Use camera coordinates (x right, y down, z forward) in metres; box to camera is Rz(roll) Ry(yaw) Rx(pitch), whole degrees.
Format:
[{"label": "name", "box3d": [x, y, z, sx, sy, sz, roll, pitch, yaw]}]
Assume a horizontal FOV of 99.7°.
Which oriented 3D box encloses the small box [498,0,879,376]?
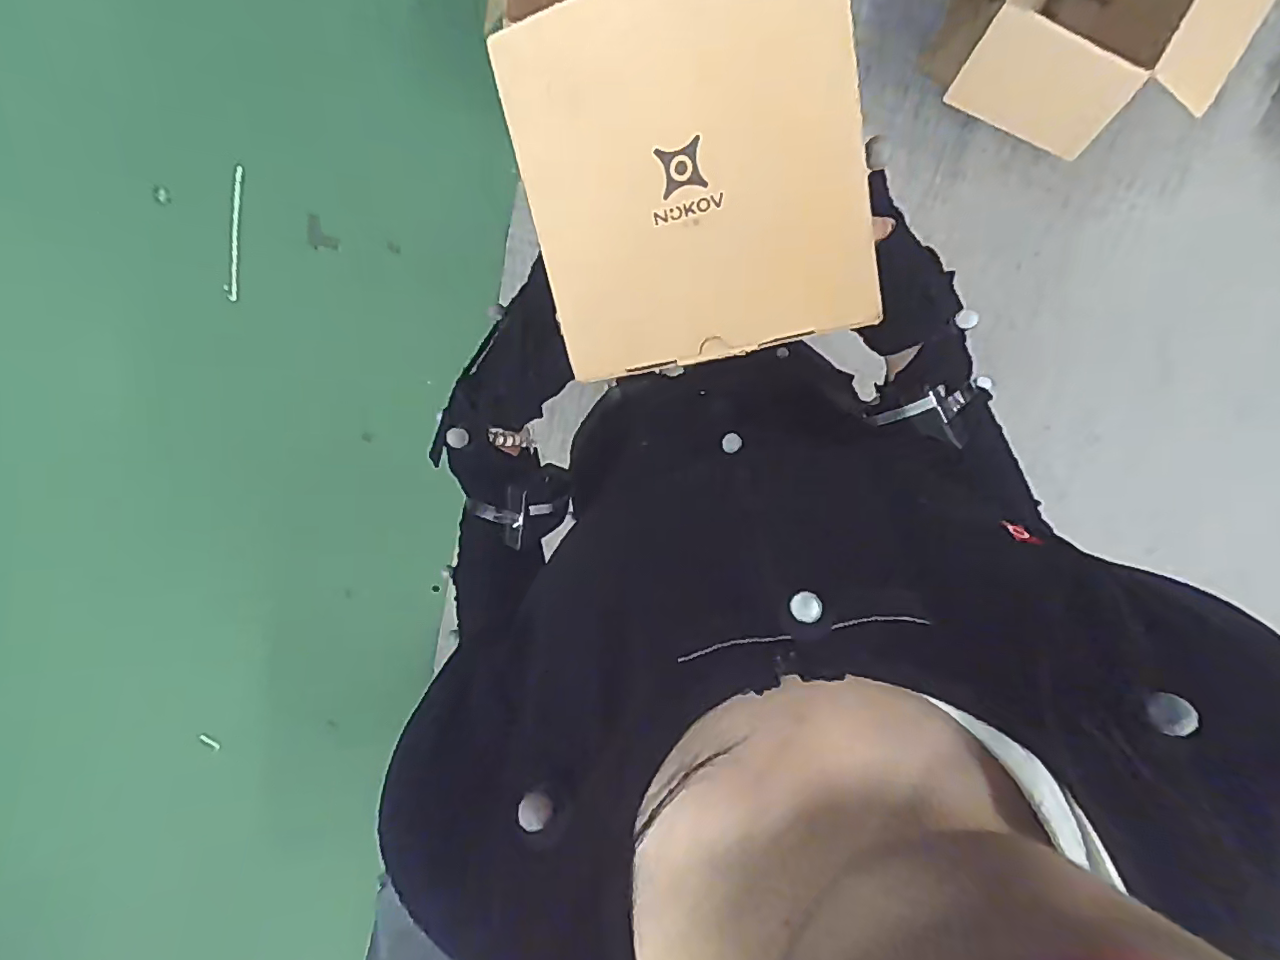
[{"label": "small box", "box3d": [0.044, -0.179, 0.342, 0.168, 0.176, 0.179, -9, 109, 19]}]
